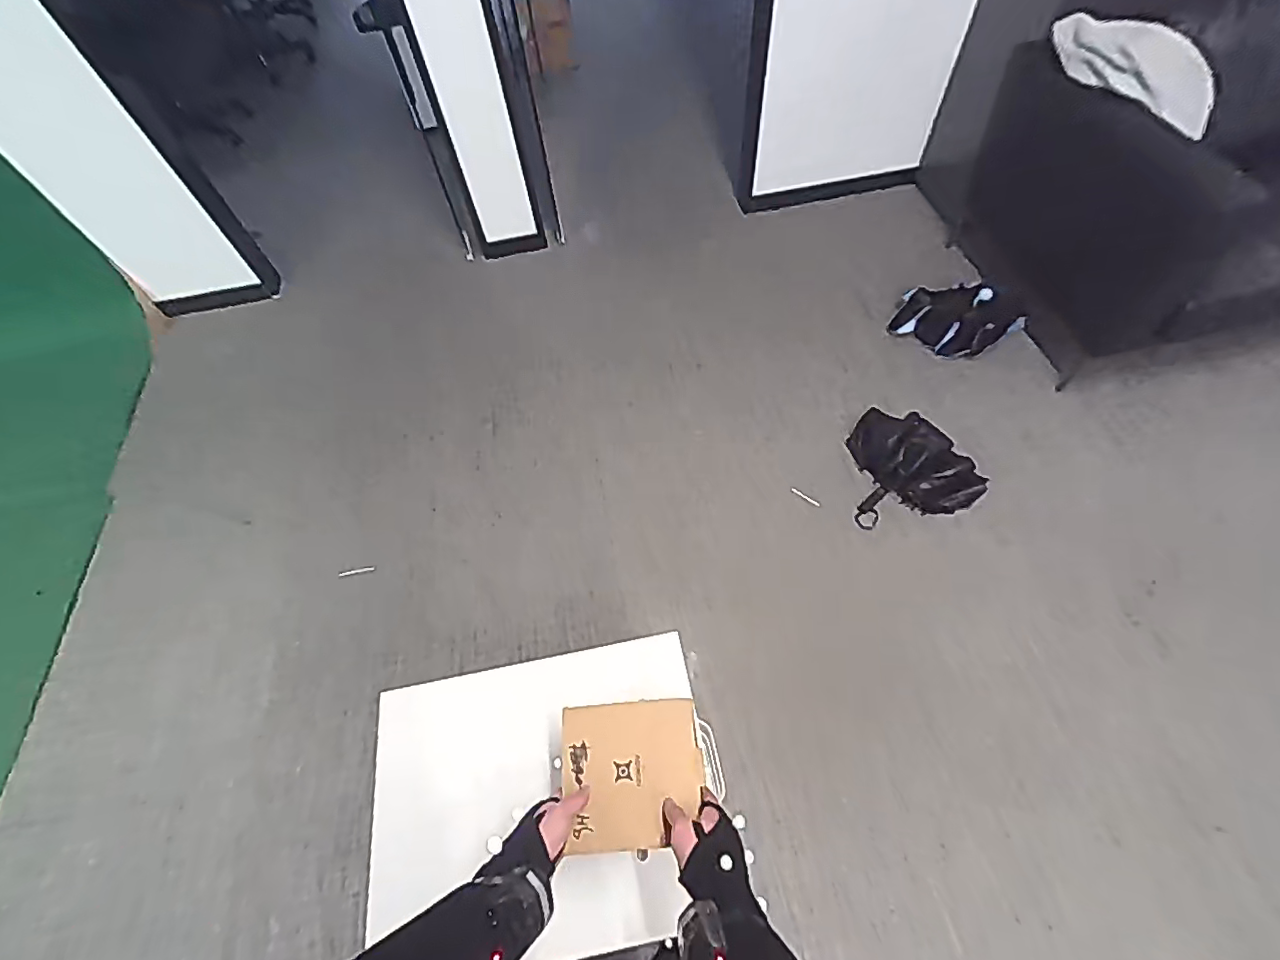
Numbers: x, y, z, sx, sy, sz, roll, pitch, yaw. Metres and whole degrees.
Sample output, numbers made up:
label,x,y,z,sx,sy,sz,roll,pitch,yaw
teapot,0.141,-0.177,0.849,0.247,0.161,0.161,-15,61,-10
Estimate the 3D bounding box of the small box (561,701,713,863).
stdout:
label,x,y,z,sx,sy,sz,roll,pitch,yaw
small box,-0.008,0.400,0.722,0.179,0.176,0.168,-3,58,-2
